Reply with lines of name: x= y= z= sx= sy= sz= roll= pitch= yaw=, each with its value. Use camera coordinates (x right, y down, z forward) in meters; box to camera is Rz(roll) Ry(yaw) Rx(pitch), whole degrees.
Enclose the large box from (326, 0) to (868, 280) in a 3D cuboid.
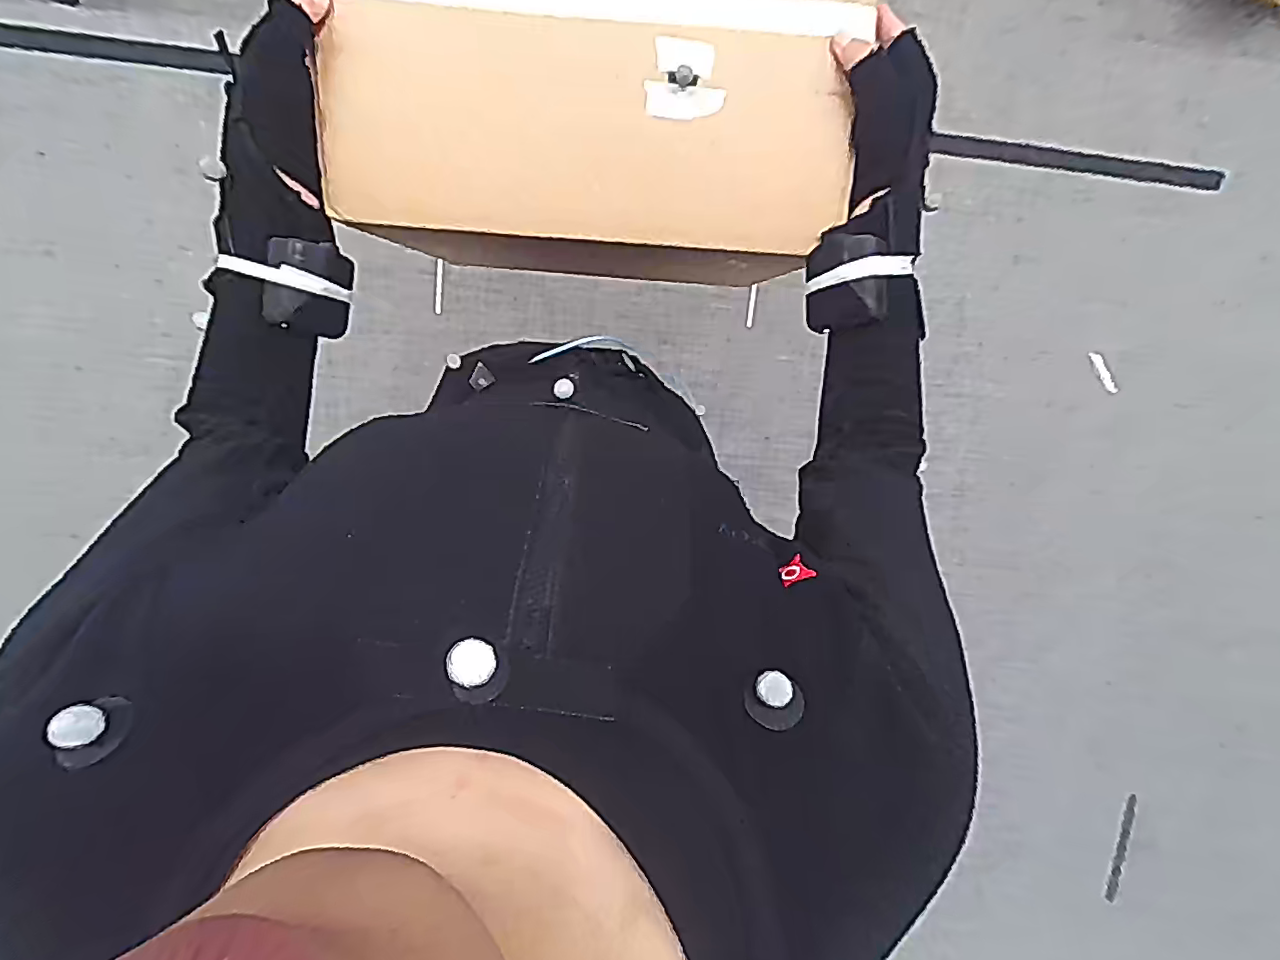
large box: x=-0.036 y=-0.386 z=0.542 sx=0.408 sy=0.320 sz=0.320 roll=3 pitch=107 yaw=-4
